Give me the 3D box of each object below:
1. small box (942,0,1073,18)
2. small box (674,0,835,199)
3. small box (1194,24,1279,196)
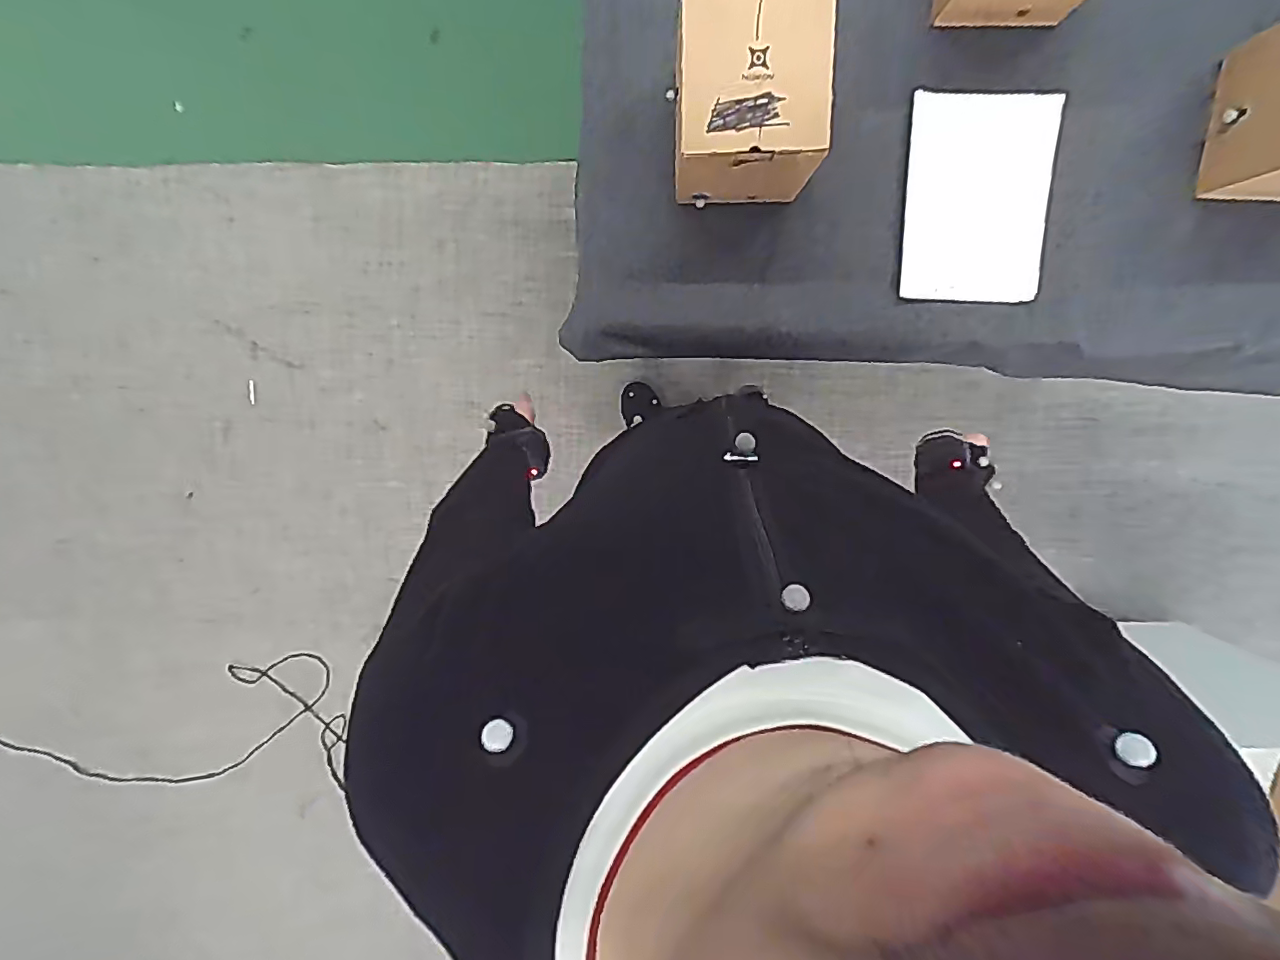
[{"bbox_3d":[0.459,-0.663,0.605,0.168,0.176,0.179,0,100,1],"label":"small box"},{"bbox_3d":[0.129,-0.461,0.669,0.168,0.176,0.179,-1,100,1],"label":"small box"},{"bbox_3d":[0.836,-0.454,0.647,0.168,0.176,0.179,2,102,1],"label":"small box"}]
